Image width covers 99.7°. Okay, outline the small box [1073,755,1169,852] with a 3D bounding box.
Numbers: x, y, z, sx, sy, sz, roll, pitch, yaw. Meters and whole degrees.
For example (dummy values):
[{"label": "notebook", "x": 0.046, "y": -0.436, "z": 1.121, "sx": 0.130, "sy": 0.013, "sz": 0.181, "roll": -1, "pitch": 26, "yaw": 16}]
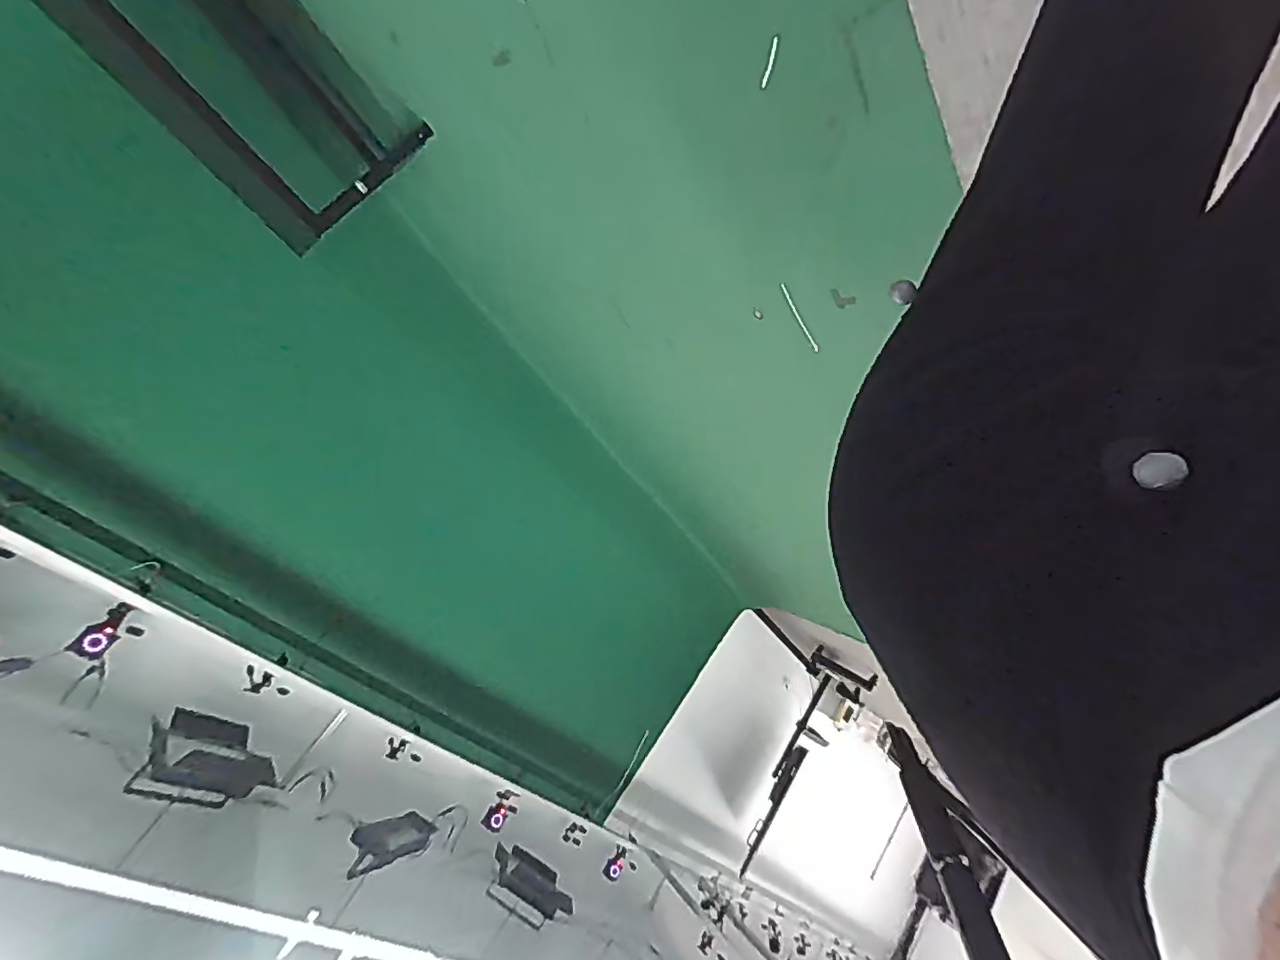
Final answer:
[{"label": "small box", "x": 1.423, "y": 0.948, "z": 1.602, "sx": 0.179, "sy": 0.176, "sz": 0.168, "roll": 14, "pitch": 151, "yaw": 50}]
